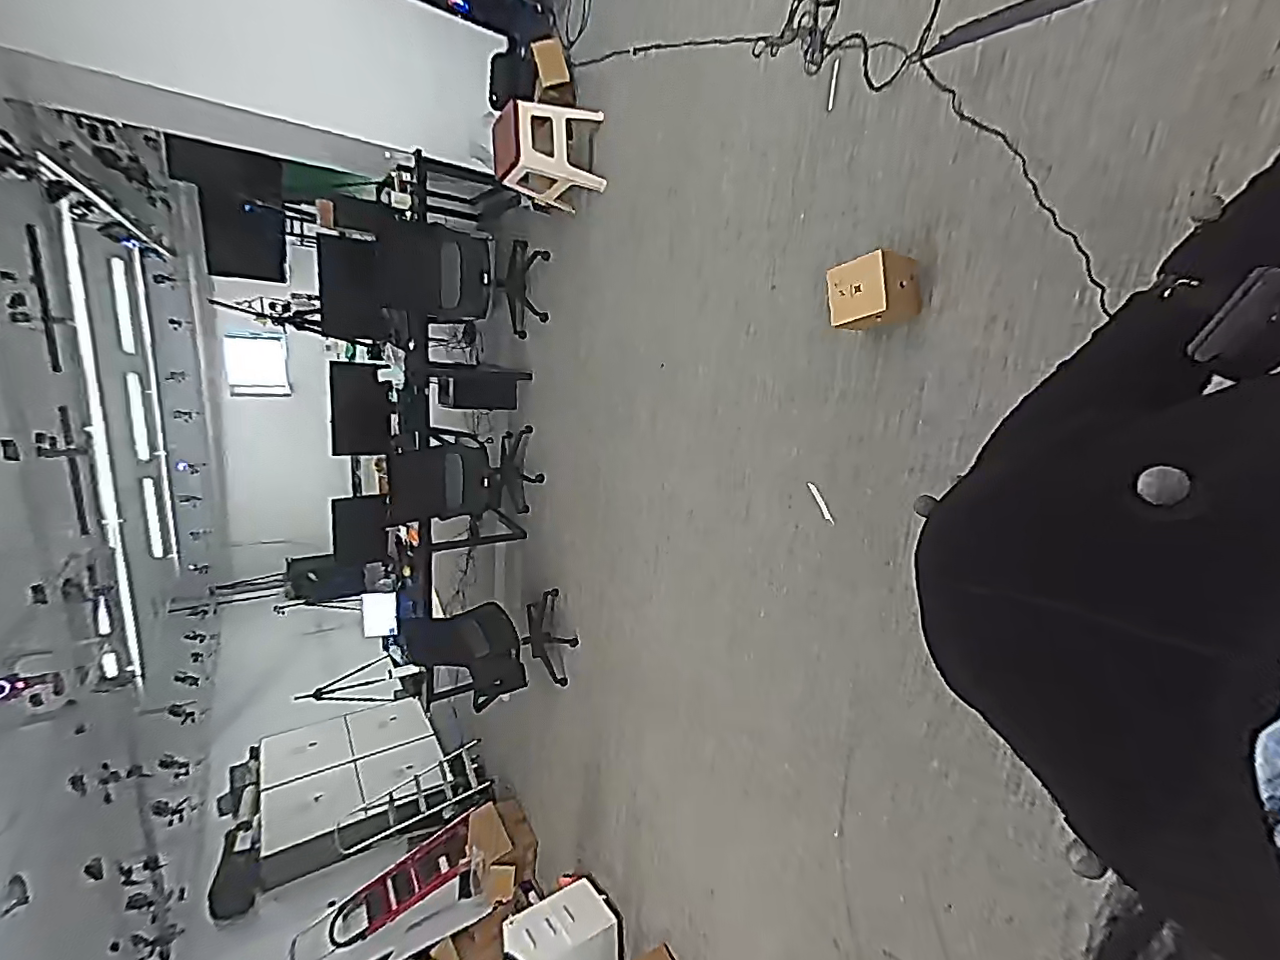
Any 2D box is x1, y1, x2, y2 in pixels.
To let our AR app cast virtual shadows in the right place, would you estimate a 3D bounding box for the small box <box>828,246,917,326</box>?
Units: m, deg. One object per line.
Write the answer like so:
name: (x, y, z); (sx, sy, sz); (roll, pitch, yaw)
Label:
small box: (0.668, -0.546, 1.542); (0.179, 0.176, 0.168); (-3, 92, 56)
